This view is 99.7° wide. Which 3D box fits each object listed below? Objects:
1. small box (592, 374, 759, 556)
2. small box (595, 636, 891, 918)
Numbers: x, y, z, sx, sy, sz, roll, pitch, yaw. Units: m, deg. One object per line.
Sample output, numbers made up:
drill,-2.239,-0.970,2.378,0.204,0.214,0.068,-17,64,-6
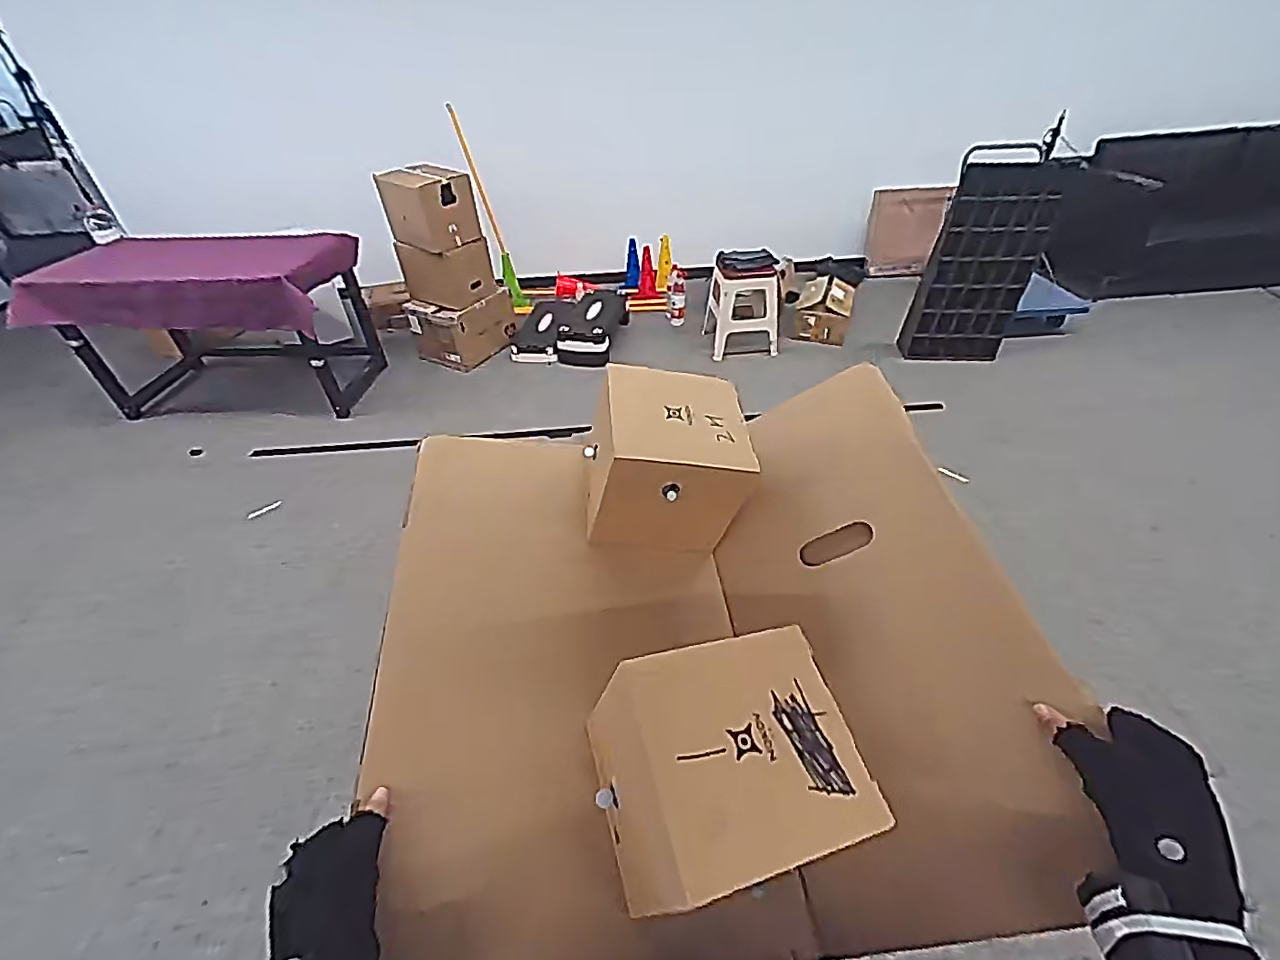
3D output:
small box,0.032,-0.014,0.715,0.179,0.176,0.168,6,49,-13
small box,0.072,0.262,0.485,0.179,0.176,0.168,-5,52,-21
